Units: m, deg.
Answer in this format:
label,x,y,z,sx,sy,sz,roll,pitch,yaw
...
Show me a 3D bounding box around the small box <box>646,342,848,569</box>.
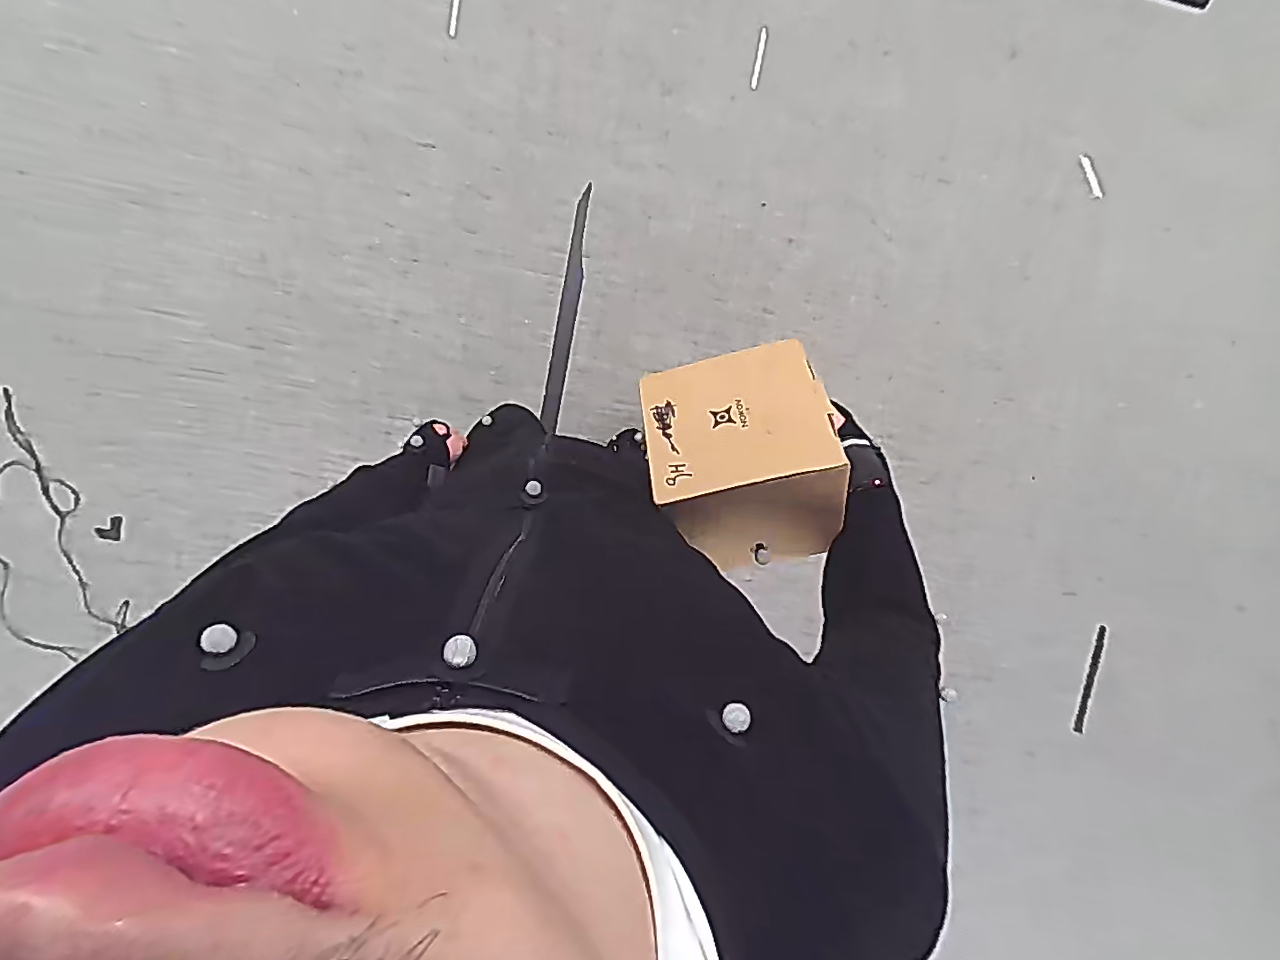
label,x,y,z,sx,sy,sz,roll,pitch,yaw
small box,0.115,-0.020,0.603,0.179,0.176,0.168,-13,53,9
